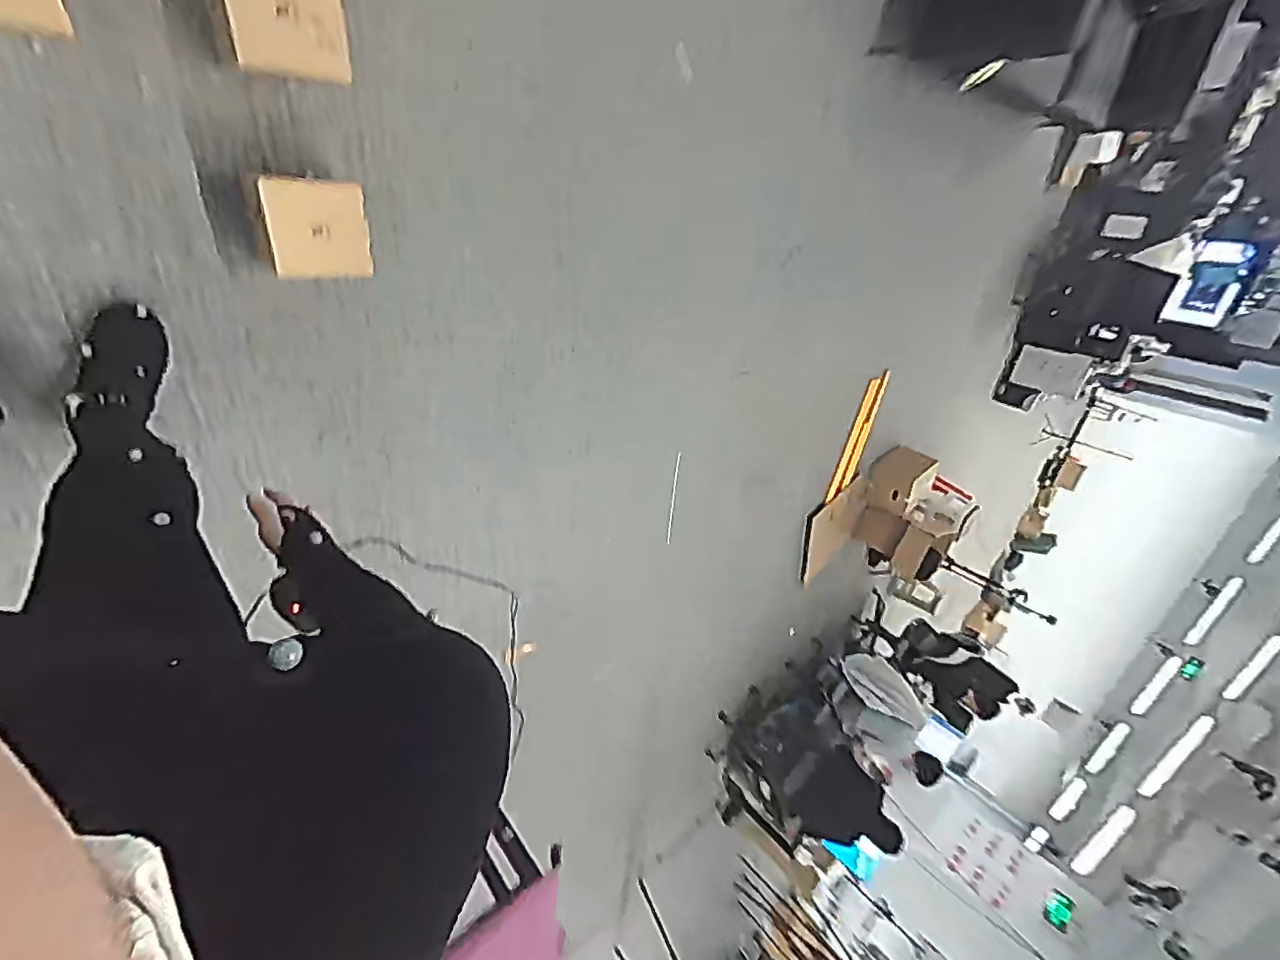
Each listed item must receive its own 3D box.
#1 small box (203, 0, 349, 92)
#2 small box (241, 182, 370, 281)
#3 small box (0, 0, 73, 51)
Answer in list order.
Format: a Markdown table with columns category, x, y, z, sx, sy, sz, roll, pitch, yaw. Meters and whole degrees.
| category | x | y | z | sx | sy | sz | roll | pitch | yaw |
| --- | --- | --- | --- | --- | --- | --- | --- | --- | --- |
| small box | -0.633 | -0.785 | 0.933 | 0.179 | 0.176 | 0.168 | -20 | 127 | -38 |
| small box | -0.670 | -0.497 | 1.081 | 0.179 | 0.176 | 0.168 | -20 | 127 | -39 |
| small box | -0.900 | -0.691 | 0.713 | 0.179 | 0.176 | 0.168 | -18 | 125 | -39 |
